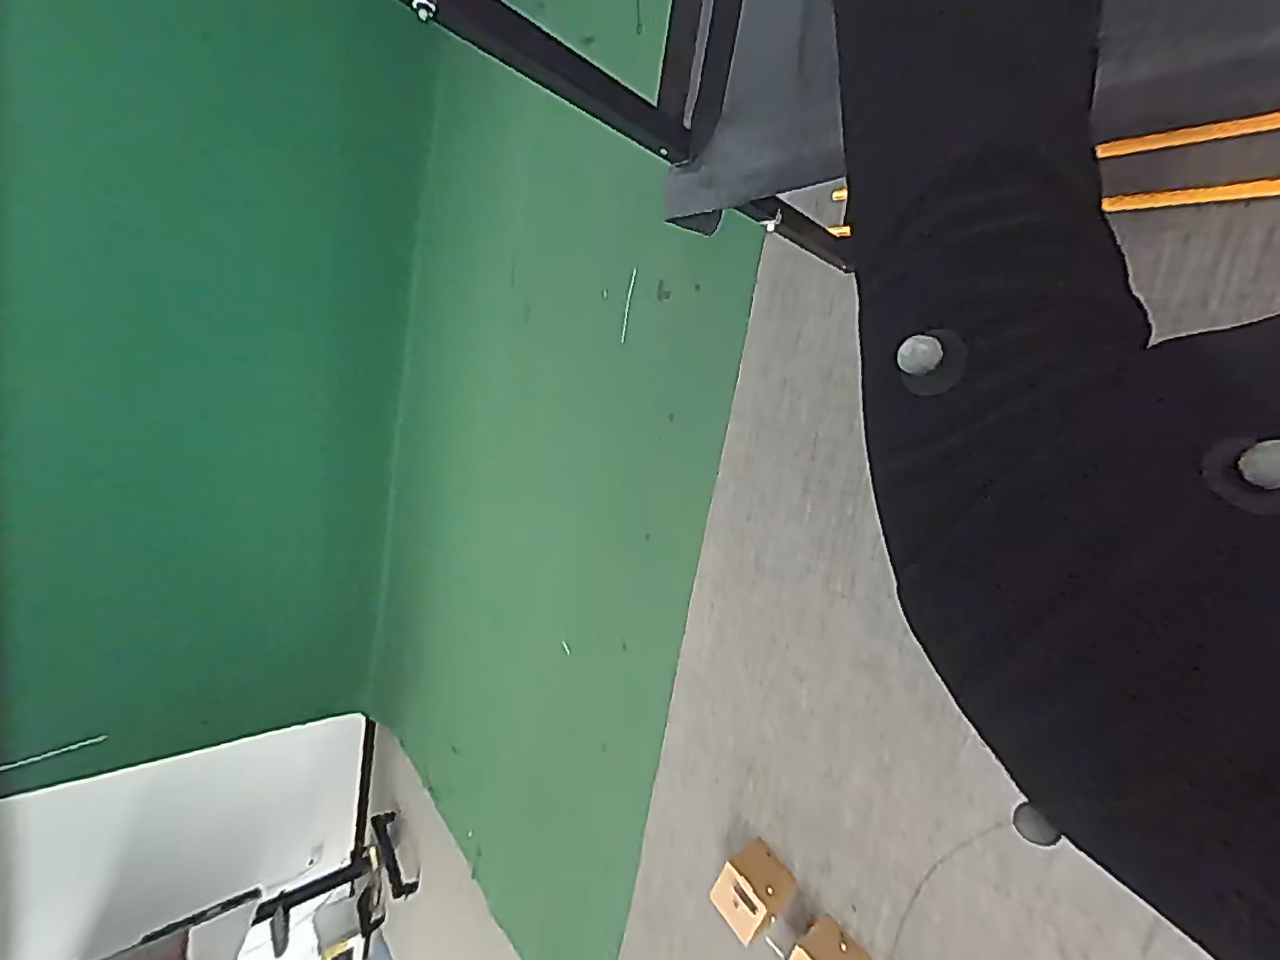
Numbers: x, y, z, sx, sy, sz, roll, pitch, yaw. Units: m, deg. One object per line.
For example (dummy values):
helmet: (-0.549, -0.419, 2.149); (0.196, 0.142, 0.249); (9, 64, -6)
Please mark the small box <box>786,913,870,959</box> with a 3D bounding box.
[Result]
small box: (0.515, 1.382, 1.513); (0.168, 0.176, 0.179); (31, 110, 42)
